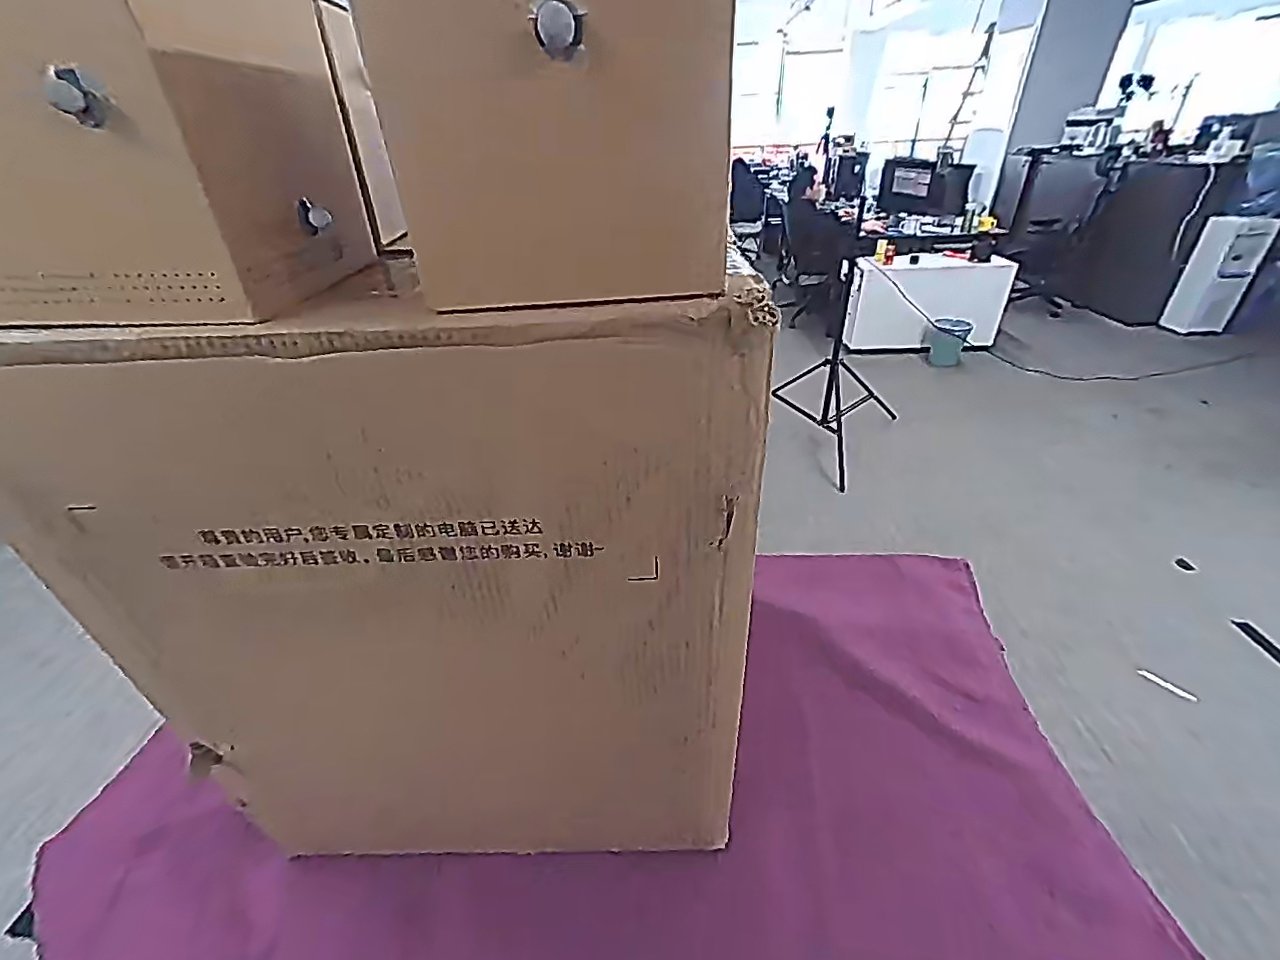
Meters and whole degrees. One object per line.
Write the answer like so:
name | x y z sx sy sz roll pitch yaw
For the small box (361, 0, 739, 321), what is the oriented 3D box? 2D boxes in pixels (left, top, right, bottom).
small box | -0.036 -0.207 0.323 0.168 0.176 0.179 -4 32 1
